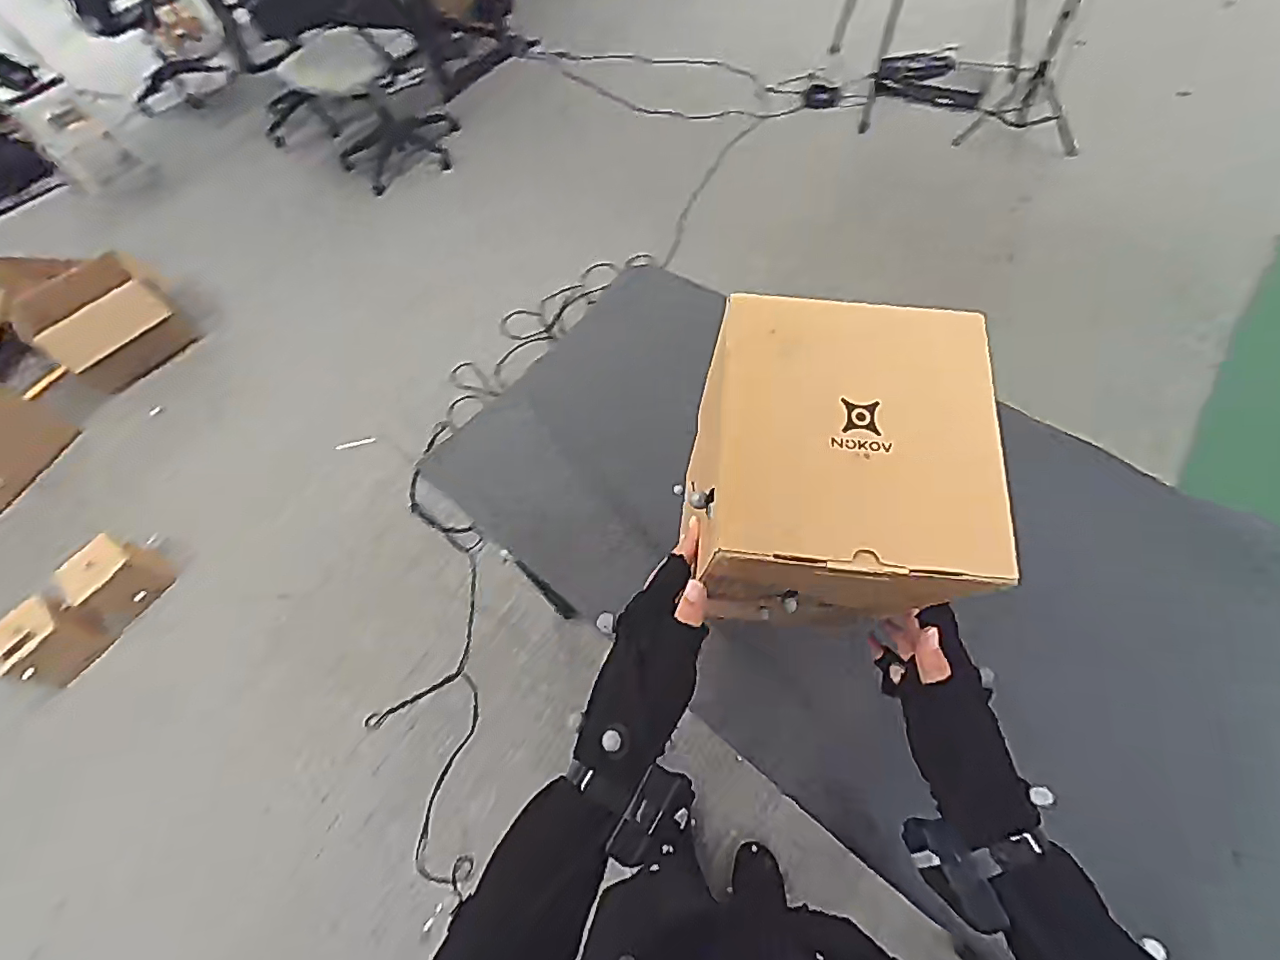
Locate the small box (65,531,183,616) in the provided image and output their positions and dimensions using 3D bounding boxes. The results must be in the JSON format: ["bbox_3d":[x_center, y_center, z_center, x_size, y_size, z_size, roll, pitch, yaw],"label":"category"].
[{"bbox_3d":[-1.571,0.291,1.656,0.179,0.176,0.168,30,69,23],"label":"small box"}]

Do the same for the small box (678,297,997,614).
[{"bbox_3d":[0.120,-0.005,0.399,0.168,0.176,0.179,5,70,1],"label":"small box"}]

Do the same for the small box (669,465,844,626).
[{"bbox_3d":[0.125,0.052,0.551,0.179,0.176,0.168,6,70,1],"label":"small box"}]
